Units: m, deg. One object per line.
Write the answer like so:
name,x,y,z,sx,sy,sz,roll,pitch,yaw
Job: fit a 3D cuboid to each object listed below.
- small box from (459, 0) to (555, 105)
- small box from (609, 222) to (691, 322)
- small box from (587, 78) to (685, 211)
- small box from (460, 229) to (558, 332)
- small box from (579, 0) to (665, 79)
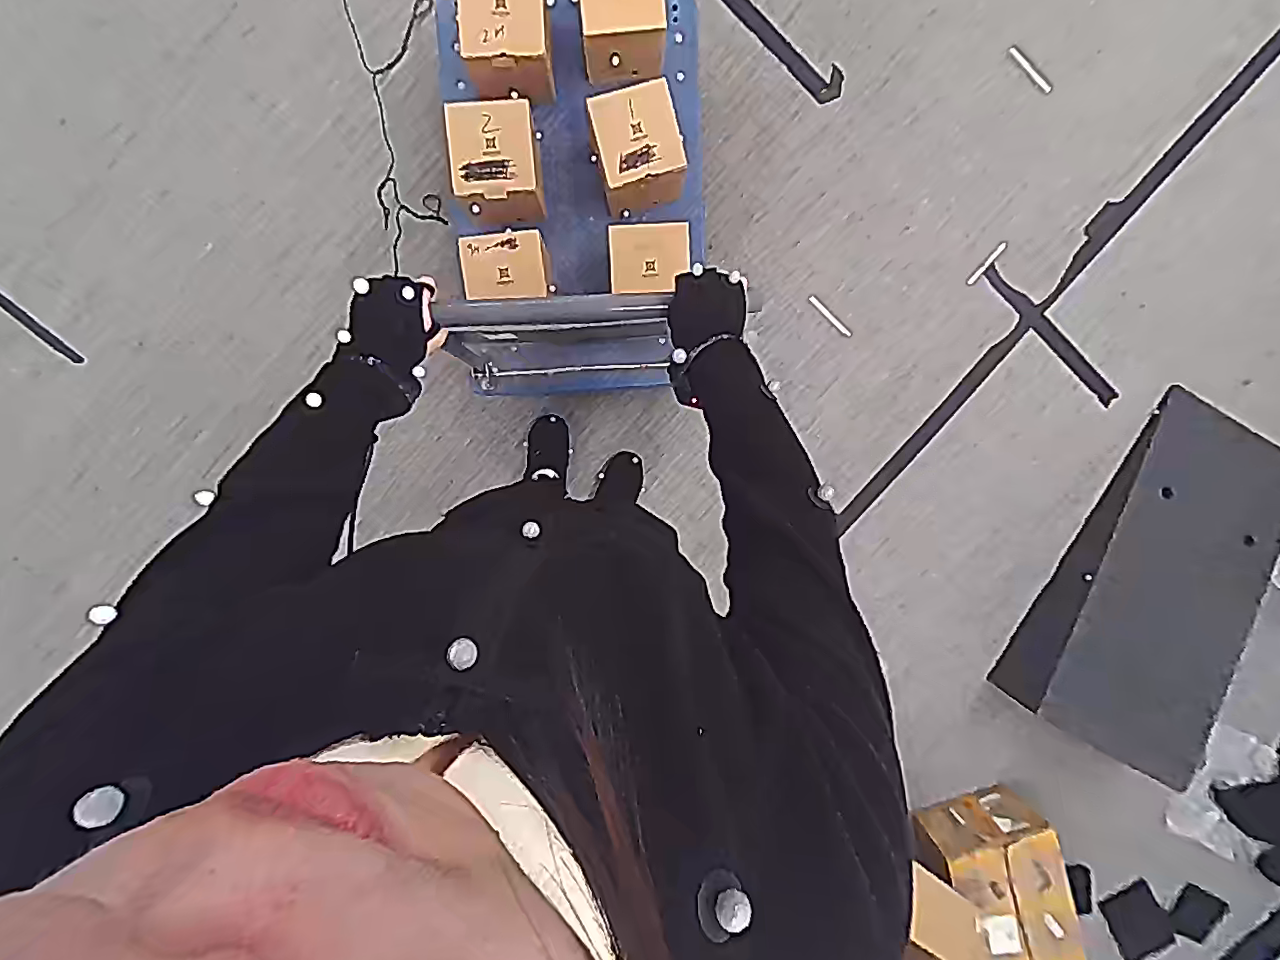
small box,-0.269,-0.919,1.119,0.168,0.176,0.179,-2,98,-1
small box,0.020,-0.446,1.188,0.168,0.176,0.179,-3,96,-2
small box,-0.008,-0.701,1.155,0.168,0.176,0.179,-15,96,0
small box,-0.277,-0.423,1.178,0.168,0.176,0.179,-7,97,-2
small box,-0.040,-0.970,1.123,0.168,0.176,0.179,-6,97,-1
